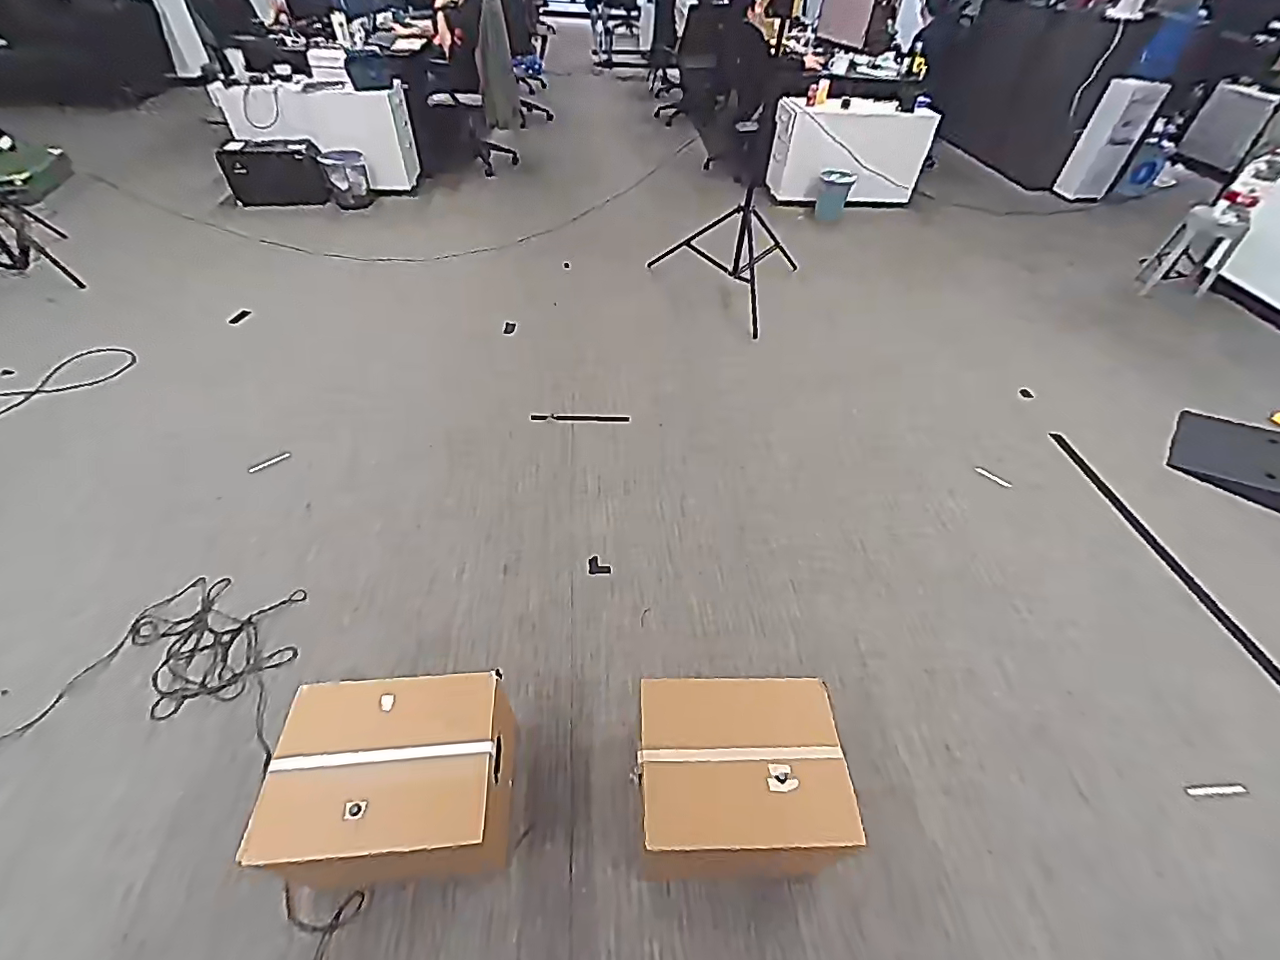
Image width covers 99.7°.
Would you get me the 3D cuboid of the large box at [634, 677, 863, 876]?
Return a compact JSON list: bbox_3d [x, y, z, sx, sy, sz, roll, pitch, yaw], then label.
[{"bbox_3d":[0.198,0.648,1.186,0.408,0.320,0.320,2,46,-4],"label":"large box"}]
